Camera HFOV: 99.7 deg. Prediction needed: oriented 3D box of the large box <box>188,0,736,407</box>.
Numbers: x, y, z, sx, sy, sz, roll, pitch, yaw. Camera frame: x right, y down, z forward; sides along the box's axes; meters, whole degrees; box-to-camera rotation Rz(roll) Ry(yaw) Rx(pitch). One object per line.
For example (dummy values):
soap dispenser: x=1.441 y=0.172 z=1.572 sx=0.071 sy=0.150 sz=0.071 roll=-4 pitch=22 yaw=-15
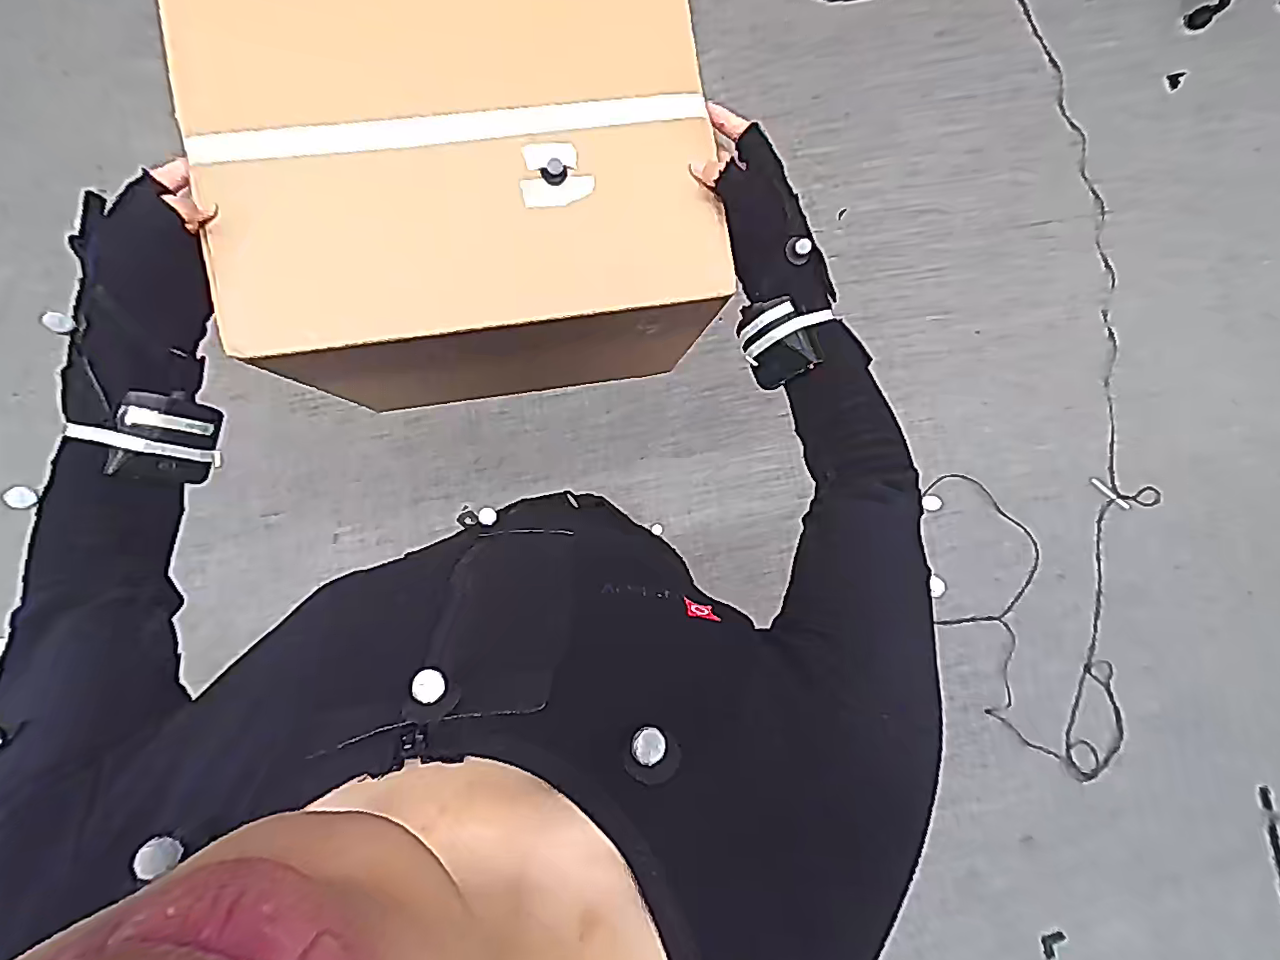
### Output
large box: x=-0.155 y=-0.283 z=0.591 sx=0.408 sy=0.320 sz=0.320 roll=-10 pitch=91 yaw=-7
